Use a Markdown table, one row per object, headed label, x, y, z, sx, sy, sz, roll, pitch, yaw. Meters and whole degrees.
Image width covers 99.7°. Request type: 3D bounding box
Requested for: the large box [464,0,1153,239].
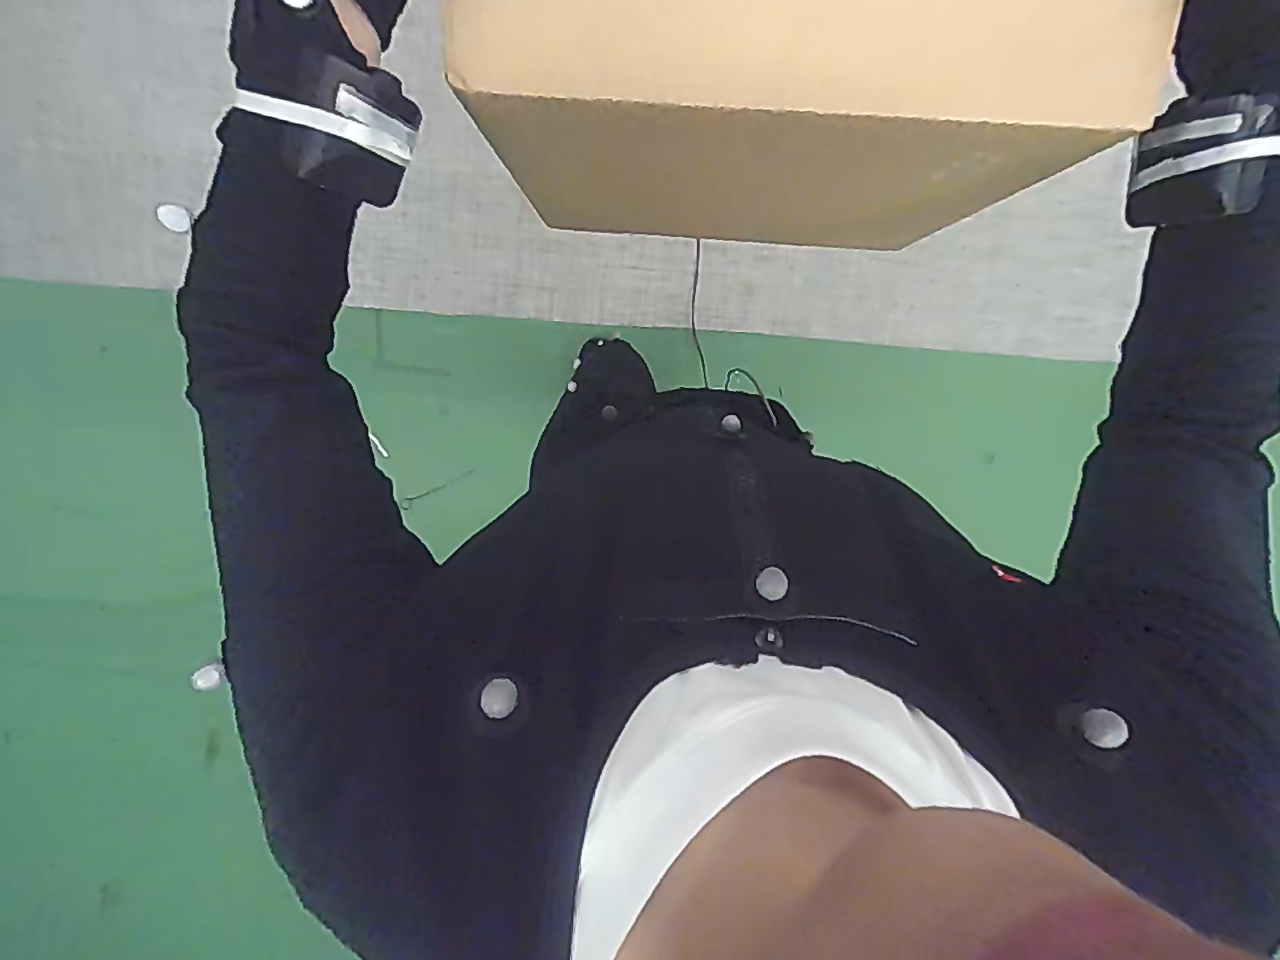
| label | x | y | z | sx | sy | sz | roll | pitch | yaw |
| --- | --- | --- | --- | --- | --- | --- | --- | --- | --- |
| large box | 0.099 | -0.399 | 0.439 | 0.408 | 0.320 | 0.320 | 3 | 102 | 0 |
